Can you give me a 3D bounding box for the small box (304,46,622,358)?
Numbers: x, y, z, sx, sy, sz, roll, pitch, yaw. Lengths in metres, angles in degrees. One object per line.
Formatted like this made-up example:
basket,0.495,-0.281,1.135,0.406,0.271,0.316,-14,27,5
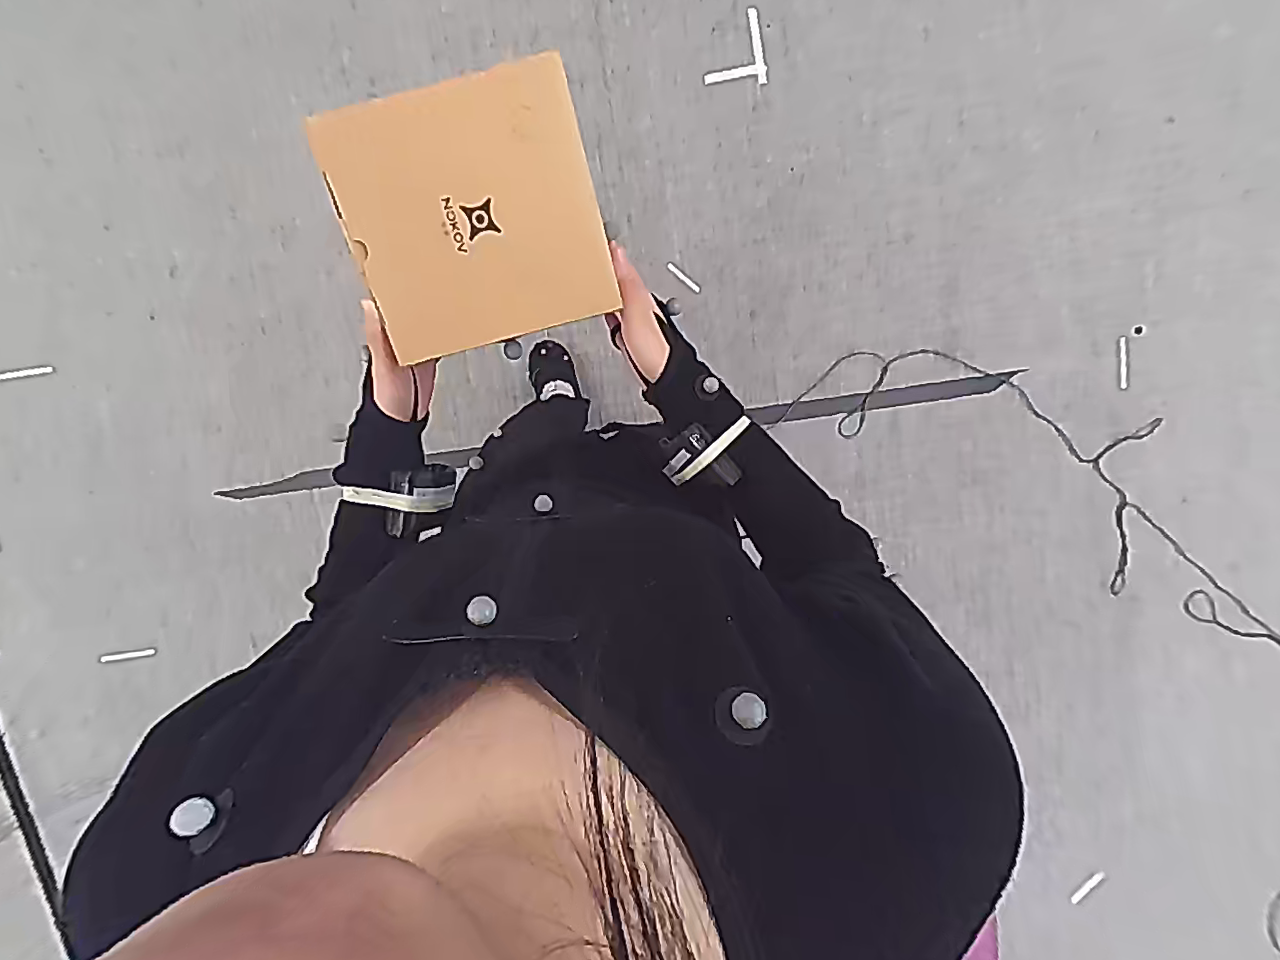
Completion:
small box,-0.121,-0.211,0.448,0.179,0.176,0.168,-15,109,2
